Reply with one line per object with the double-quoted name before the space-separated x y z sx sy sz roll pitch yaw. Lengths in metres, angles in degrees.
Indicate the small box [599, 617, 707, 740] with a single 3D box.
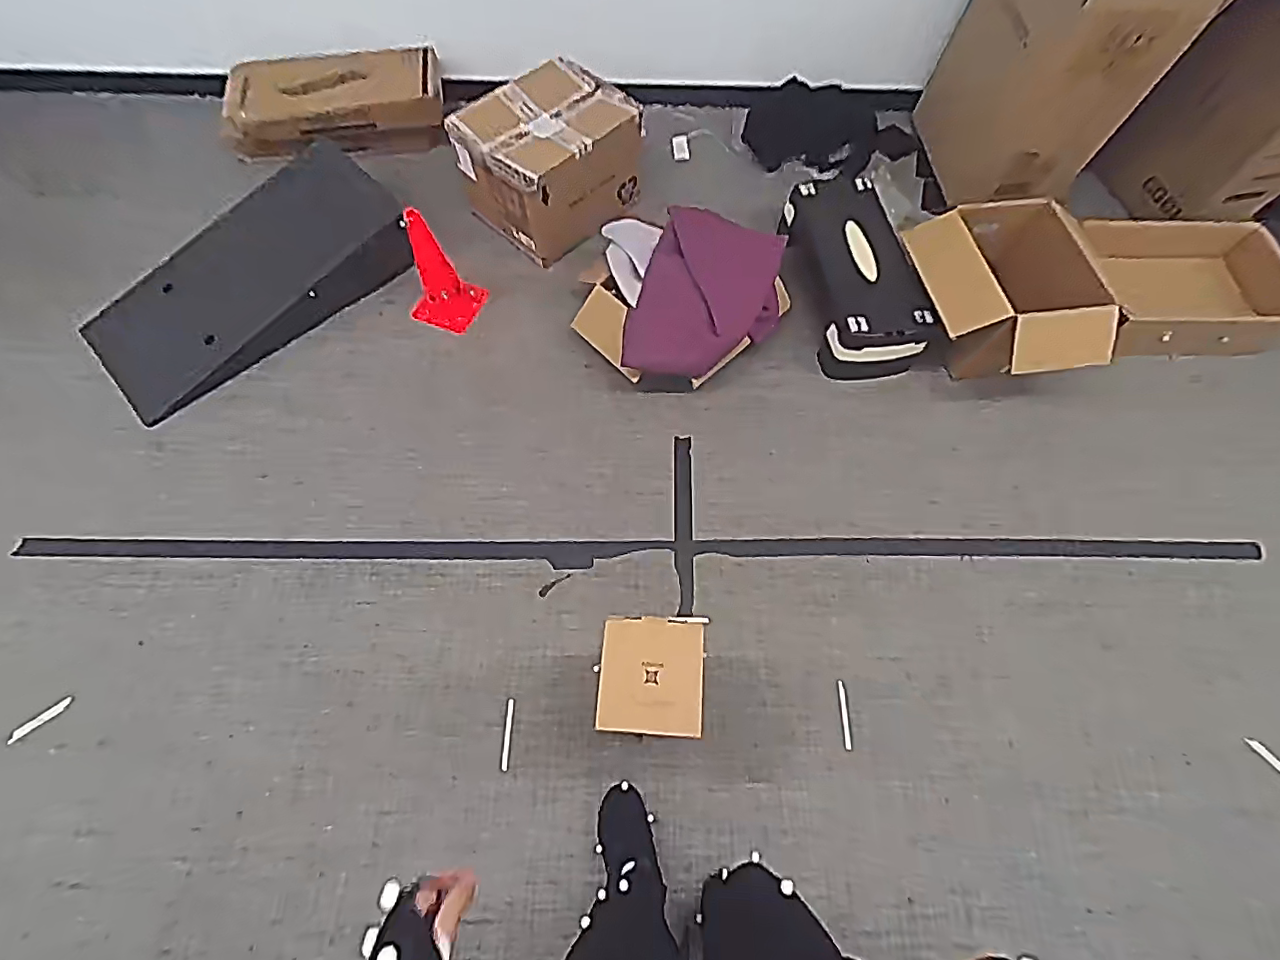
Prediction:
"small box" 0.022 0.344 0.933 0.168 0.176 0.179 4 67 1
